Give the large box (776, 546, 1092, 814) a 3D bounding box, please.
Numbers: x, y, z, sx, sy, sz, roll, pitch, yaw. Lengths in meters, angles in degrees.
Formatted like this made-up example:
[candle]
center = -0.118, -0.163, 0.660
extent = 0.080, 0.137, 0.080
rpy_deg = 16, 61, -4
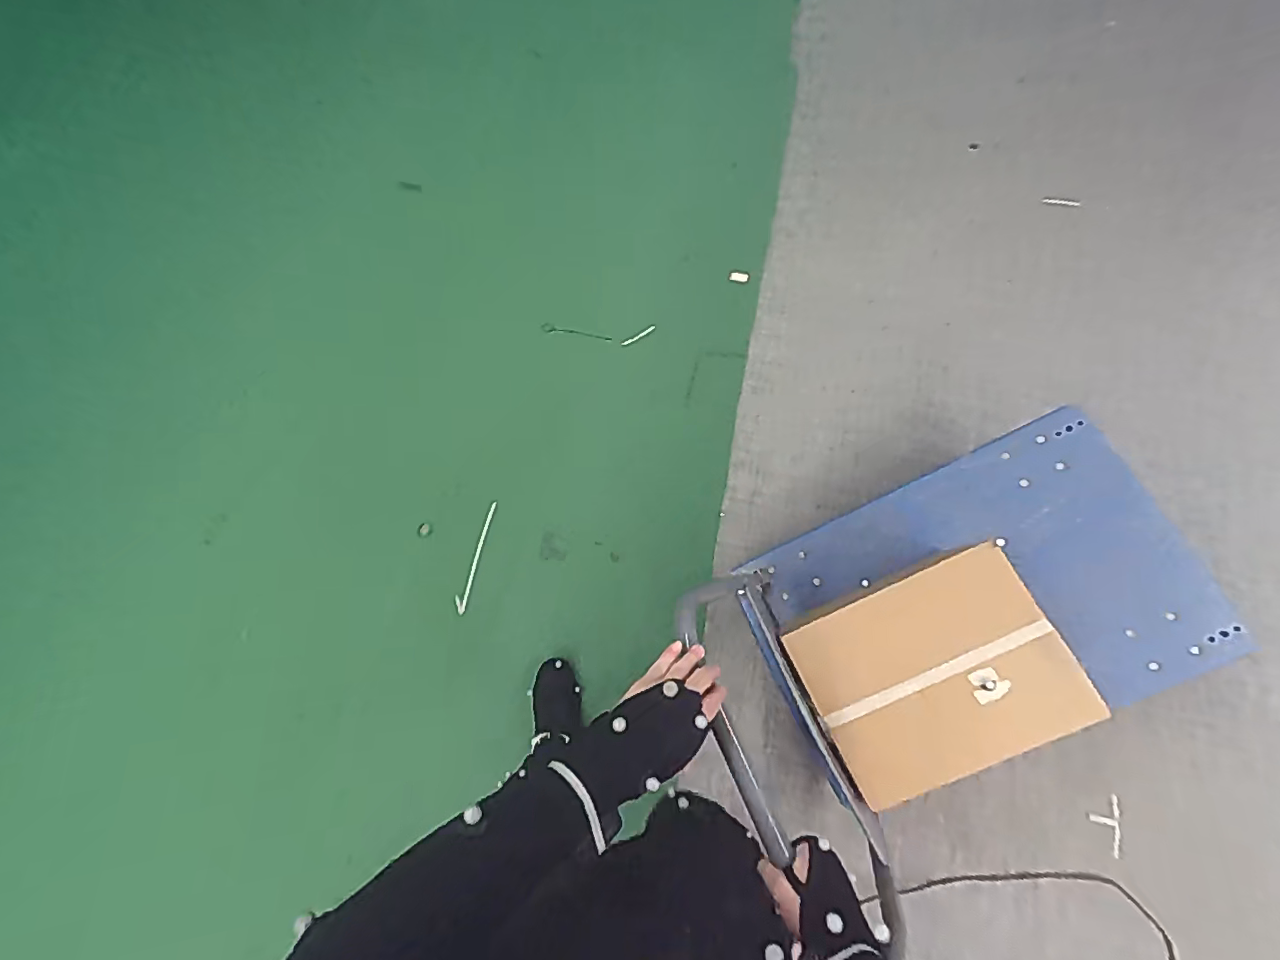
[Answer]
[large box]
center = 0.519, 0.370, 1.064
extent = 0.408, 0.320, 0.320
rpy_deg = -27, 73, 6
